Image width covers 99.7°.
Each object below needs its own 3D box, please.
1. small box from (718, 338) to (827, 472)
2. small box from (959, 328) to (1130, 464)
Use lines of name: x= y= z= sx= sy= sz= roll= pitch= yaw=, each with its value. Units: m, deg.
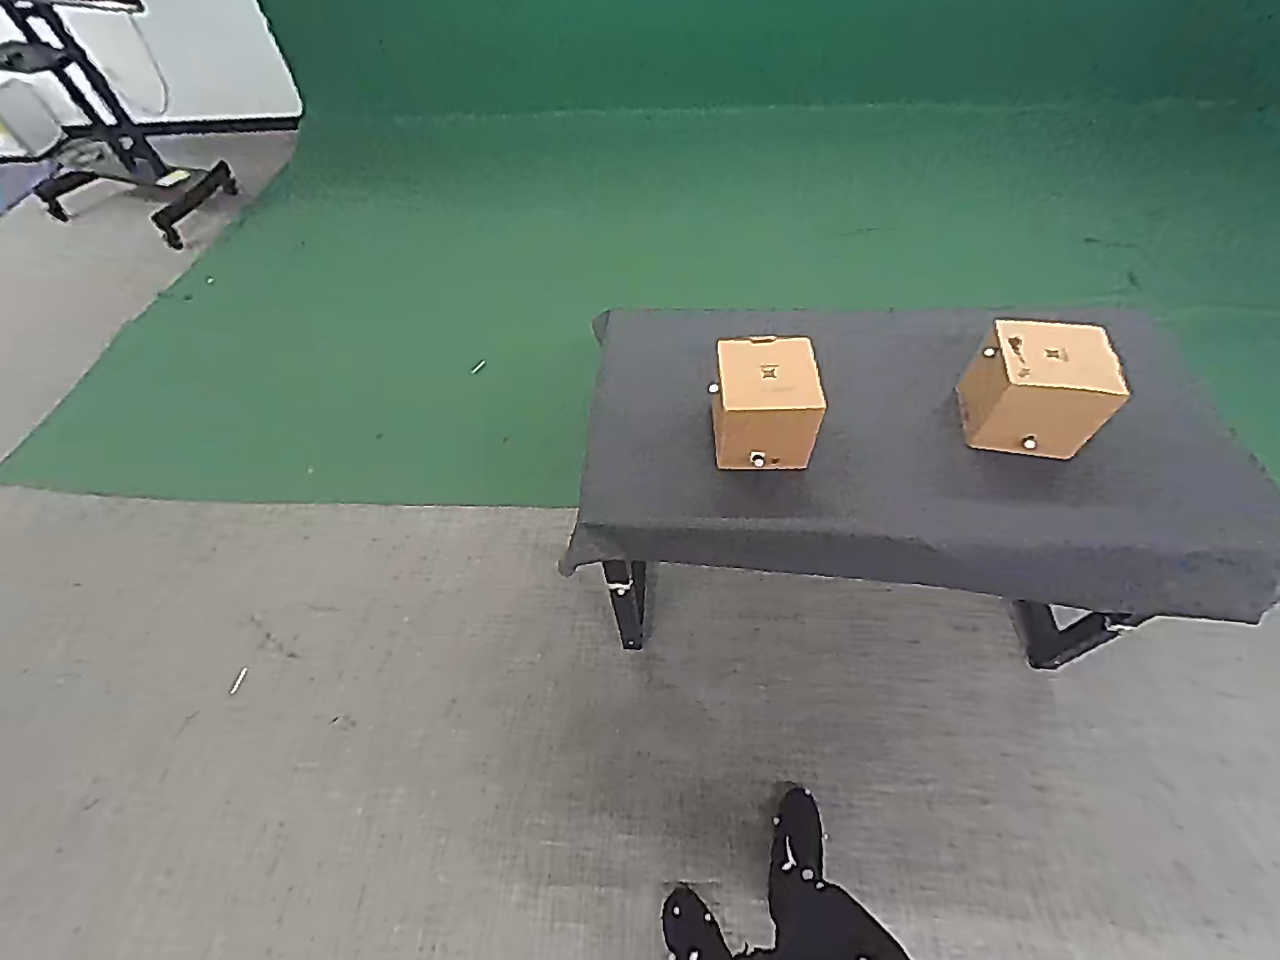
small box: x=0.227 y=-0.134 z=0.976 sx=0.168 sy=0.176 sz=0.179 roll=0 pitch=54 yaw=6
small box: x=0.710 y=-0.147 z=0.974 sx=0.179 sy=0.176 sz=0.168 roll=9 pitch=55 yaw=9
